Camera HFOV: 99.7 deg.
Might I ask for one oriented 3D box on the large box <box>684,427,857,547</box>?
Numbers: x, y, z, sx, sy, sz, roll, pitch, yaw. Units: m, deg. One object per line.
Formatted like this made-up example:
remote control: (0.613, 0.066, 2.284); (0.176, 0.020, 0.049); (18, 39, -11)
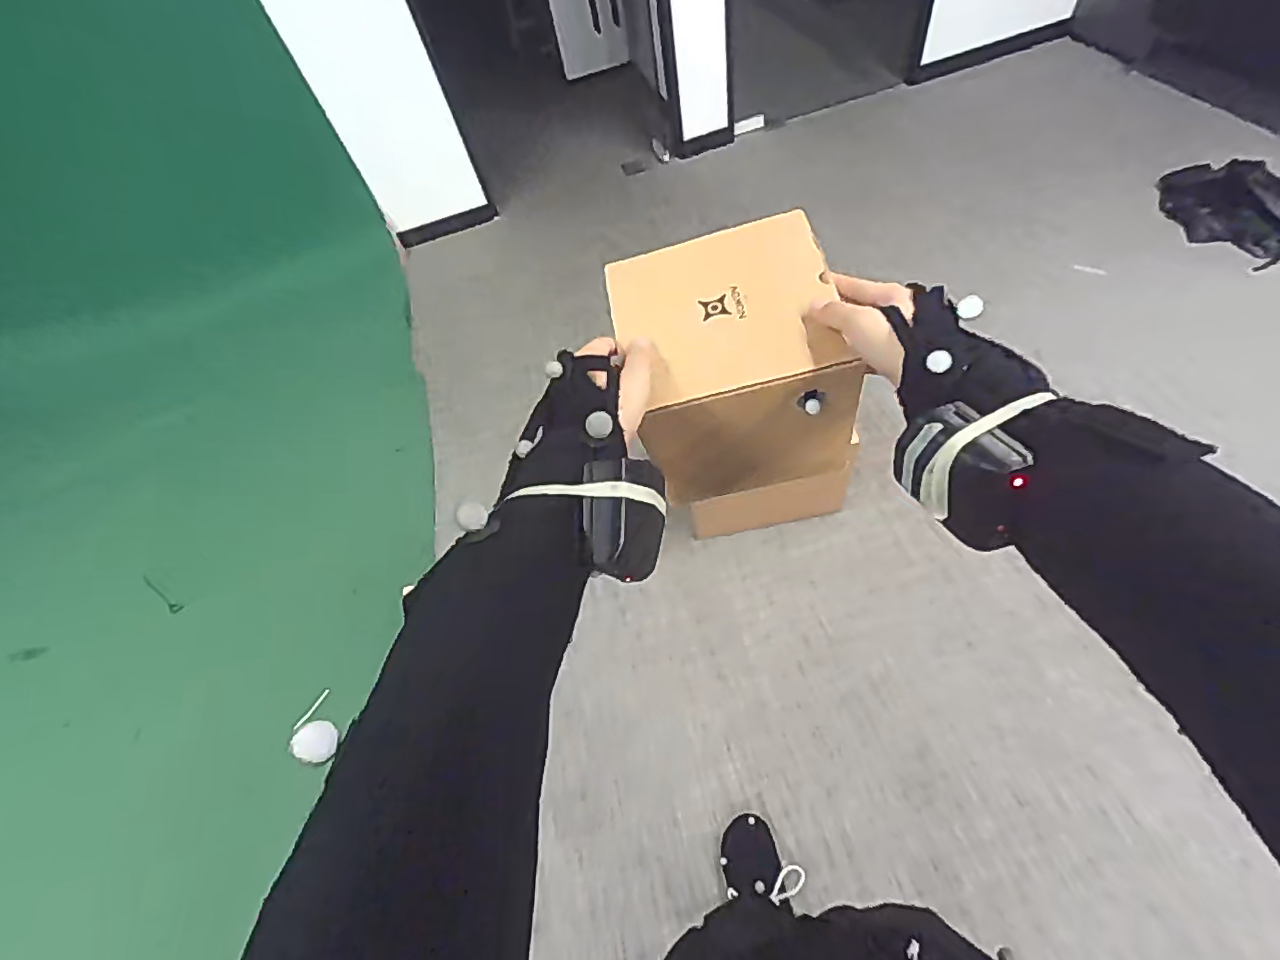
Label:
large box: (0.300, -0.059, 1.444); (0.408, 0.320, 0.320); (-12, 55, 1)

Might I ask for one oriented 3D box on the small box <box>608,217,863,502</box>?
small box: (0.082, -0.096, 0.494); (0.179, 0.176, 0.168); (-13, 60, 7)
